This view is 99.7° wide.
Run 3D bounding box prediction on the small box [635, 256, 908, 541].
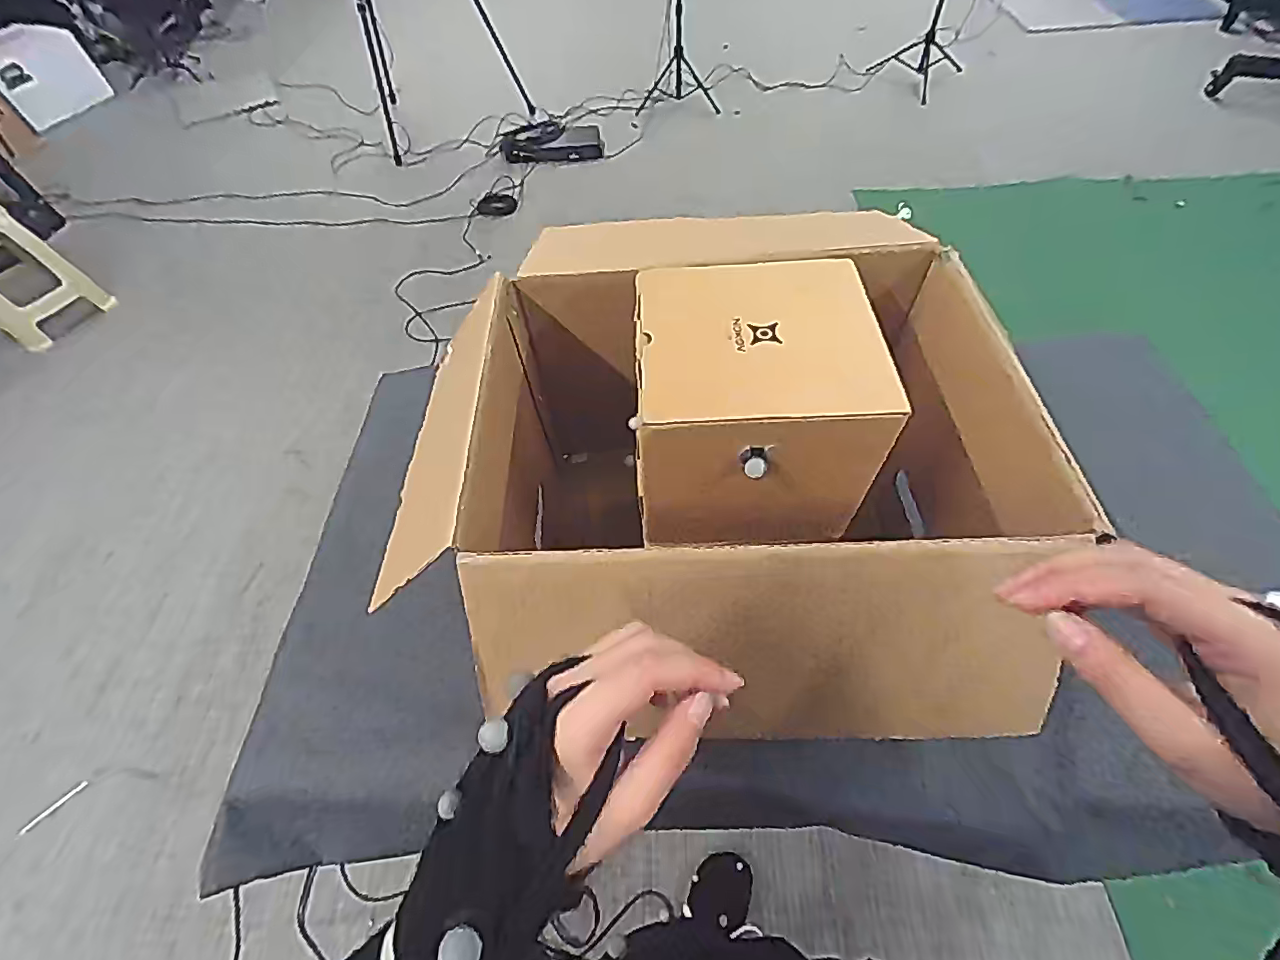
[{"bbox_3d":[0.089,-0.059,0.453,0.179,0.176,0.168,-4,56,4],"label":"small box"}]
